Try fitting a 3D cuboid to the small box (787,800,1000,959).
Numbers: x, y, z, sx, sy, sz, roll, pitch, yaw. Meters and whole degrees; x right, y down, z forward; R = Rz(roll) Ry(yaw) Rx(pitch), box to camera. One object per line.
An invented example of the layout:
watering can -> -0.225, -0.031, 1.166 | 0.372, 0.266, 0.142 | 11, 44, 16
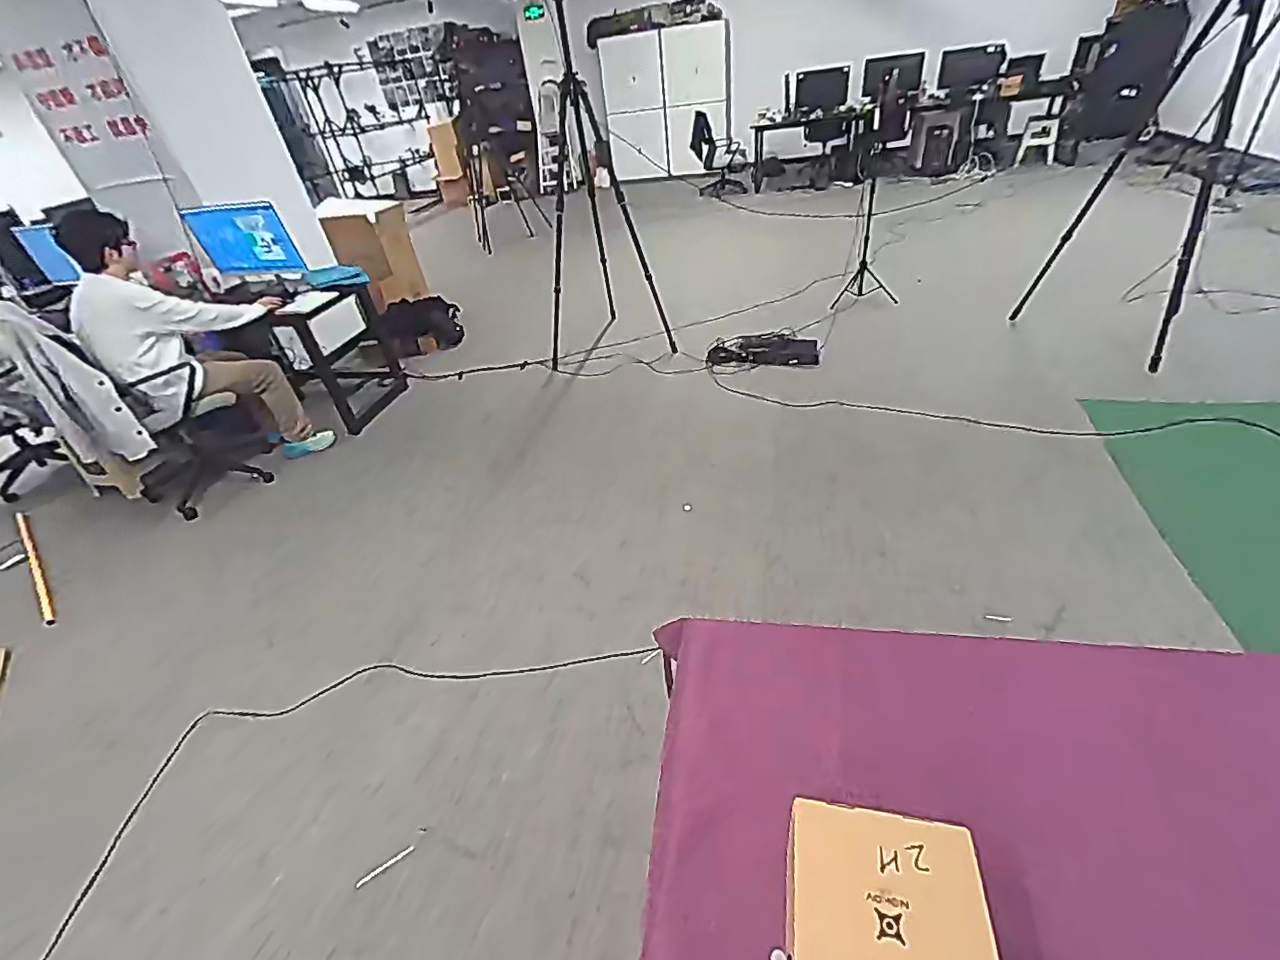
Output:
small box -> 0.232, 0.451, 0.522 | 0.168, 0.176, 0.179 | 3, 38, 14
